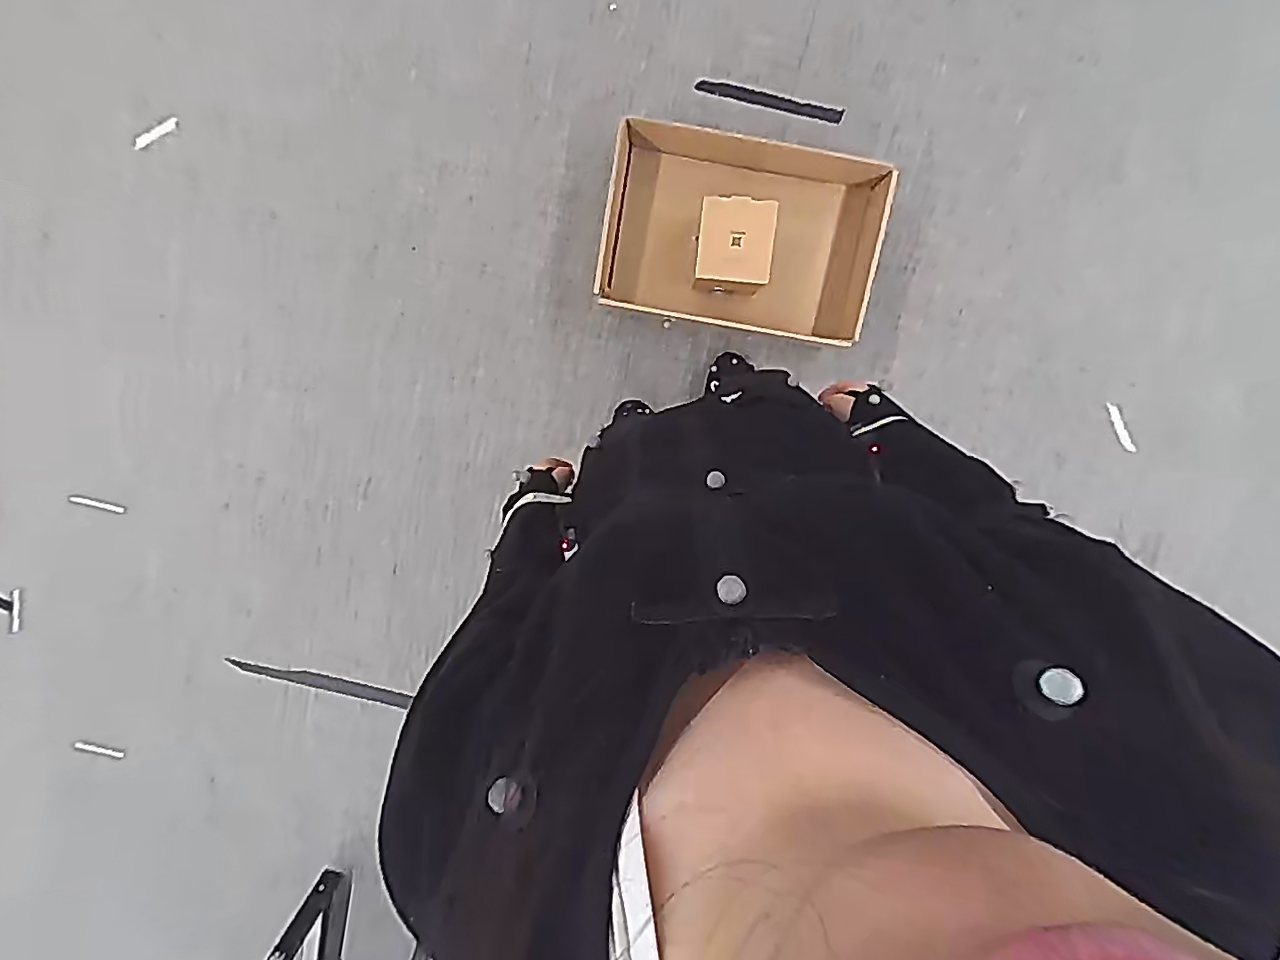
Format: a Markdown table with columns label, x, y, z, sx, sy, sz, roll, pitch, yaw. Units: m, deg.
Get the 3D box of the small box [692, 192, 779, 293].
| label | x | y | z | sx | sy | sz | roll | pitch | yaw |
| --- | --- | --- | --- | --- | --- | --- | --- | --- | --- |
| small box | 0.215 | -0.548 | 1.266 | 0.168 | 0.176 | 0.179 | 5 | 102 | 1 |
